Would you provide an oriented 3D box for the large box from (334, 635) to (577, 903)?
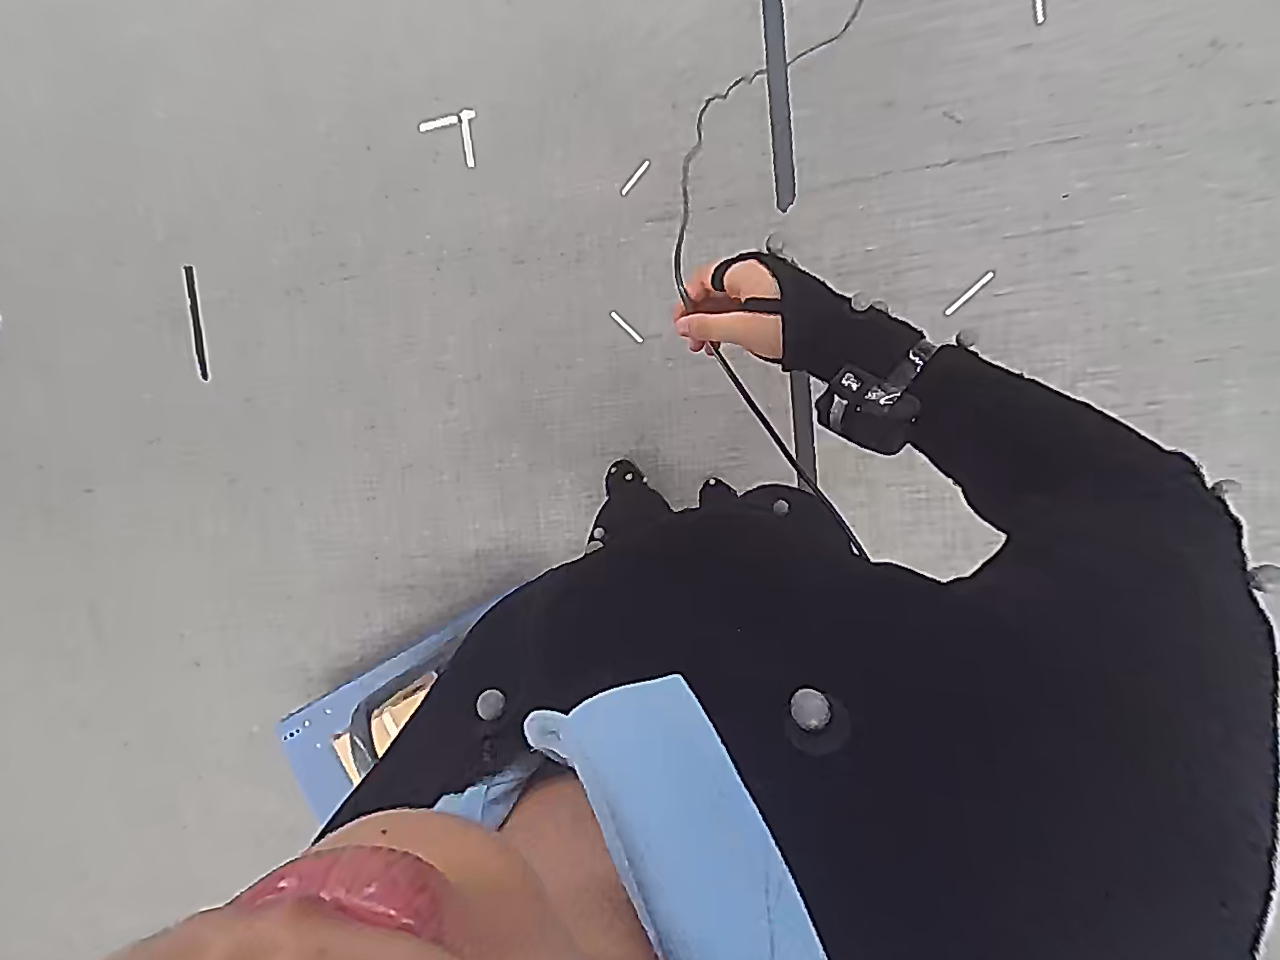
[{"bbox_3d":[-0.408,0.650,1.276,0.320,0.320,0.408,-30,87,9],"label":"large box"}]
